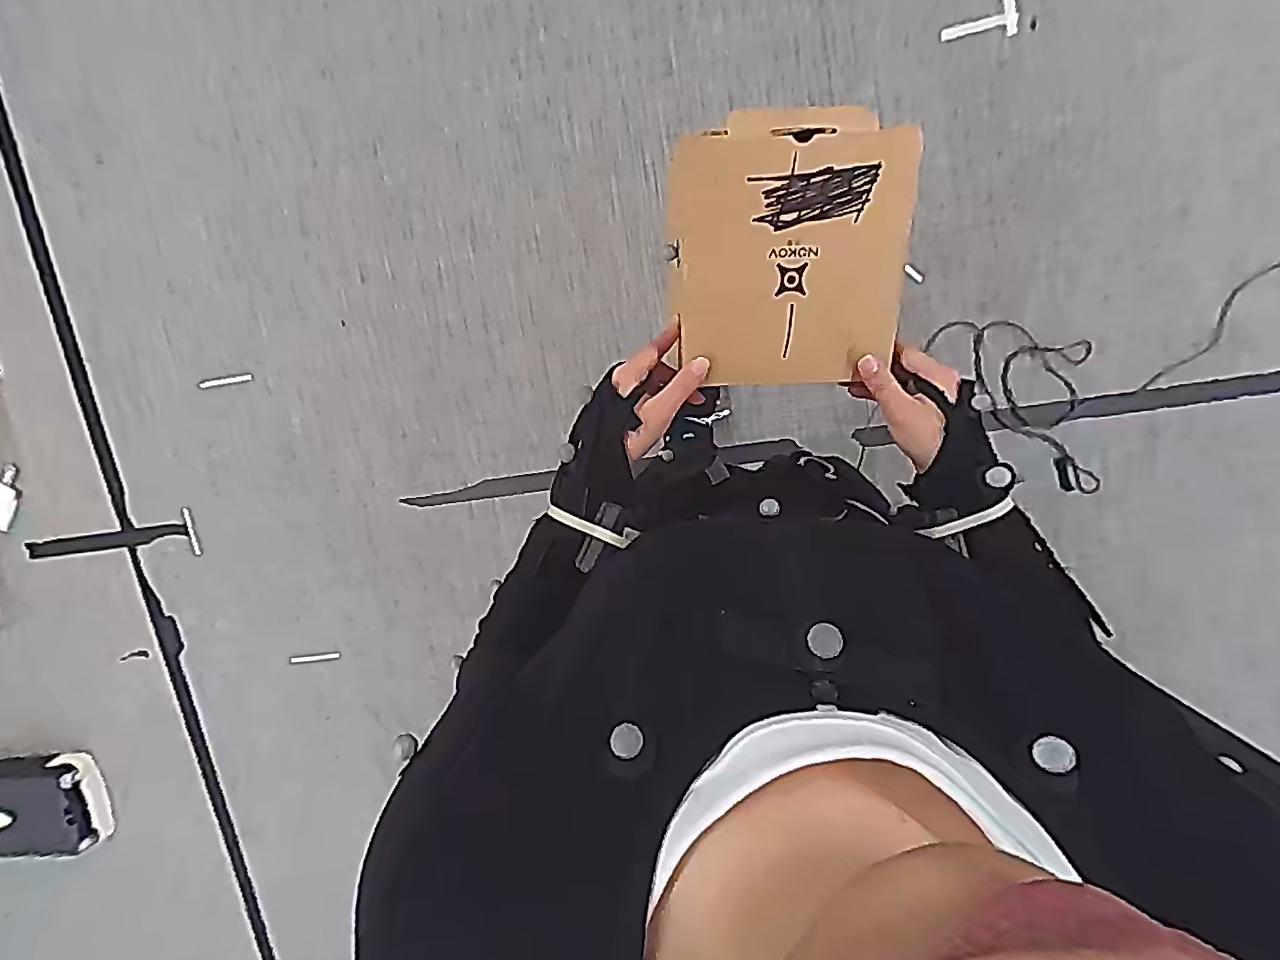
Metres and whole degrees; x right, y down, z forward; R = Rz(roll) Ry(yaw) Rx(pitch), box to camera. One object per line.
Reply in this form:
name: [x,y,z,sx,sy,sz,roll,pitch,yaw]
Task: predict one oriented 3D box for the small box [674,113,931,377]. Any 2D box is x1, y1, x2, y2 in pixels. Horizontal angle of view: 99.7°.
small box: [0.116,-0.192,0.467,0.168,0.176,0.179,-1,112,1]
